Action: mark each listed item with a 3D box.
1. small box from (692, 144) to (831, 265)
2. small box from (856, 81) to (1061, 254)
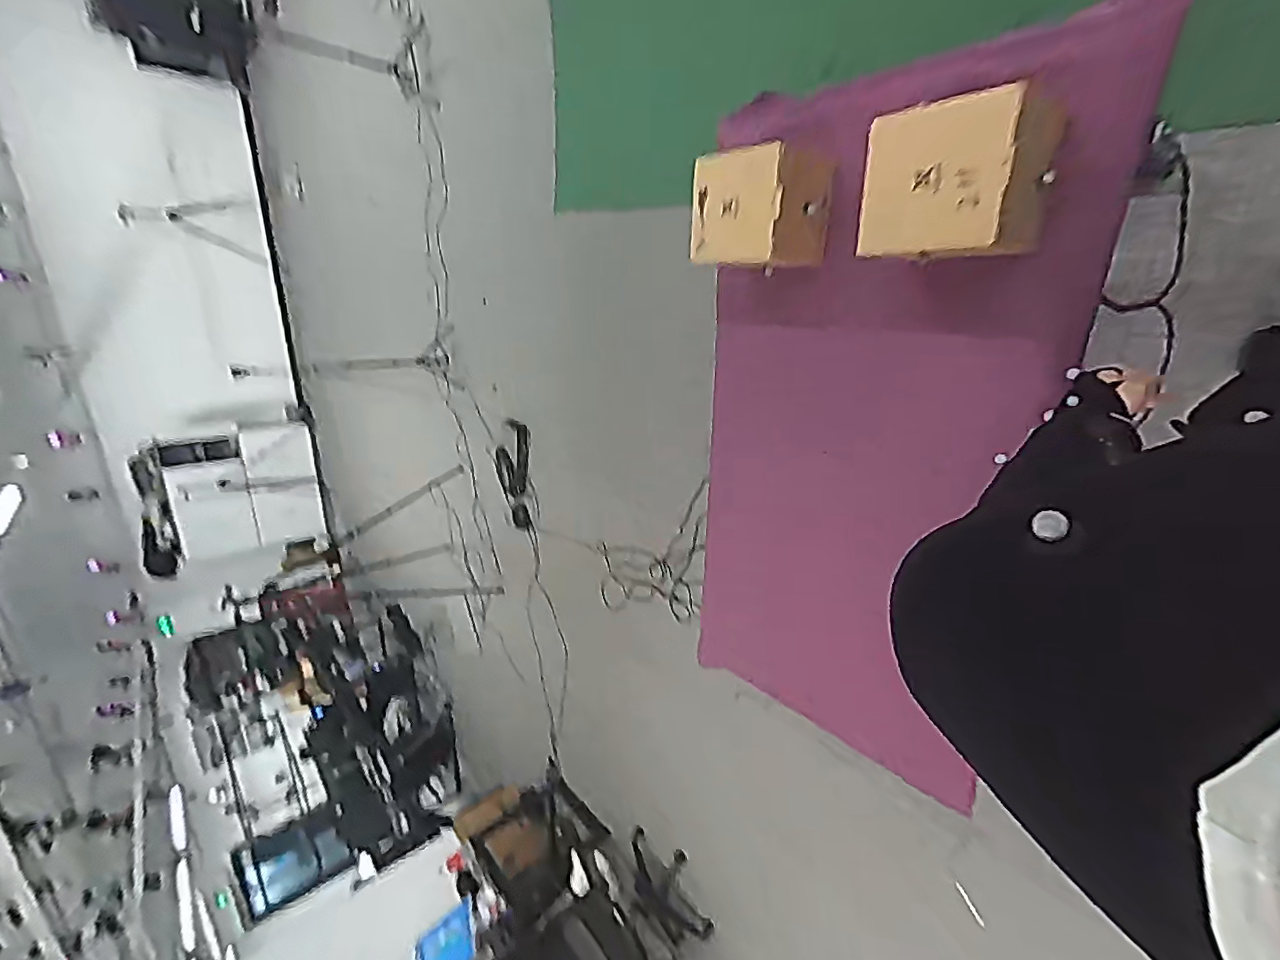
[{"bbox_3d":[0.214,-0.472,0.951,0.179,0.176,0.168,20,116,42],"label":"small box"},{"bbox_3d":[0.423,-0.398,0.726,0.179,0.176,0.168,20,118,46],"label":"small box"}]
